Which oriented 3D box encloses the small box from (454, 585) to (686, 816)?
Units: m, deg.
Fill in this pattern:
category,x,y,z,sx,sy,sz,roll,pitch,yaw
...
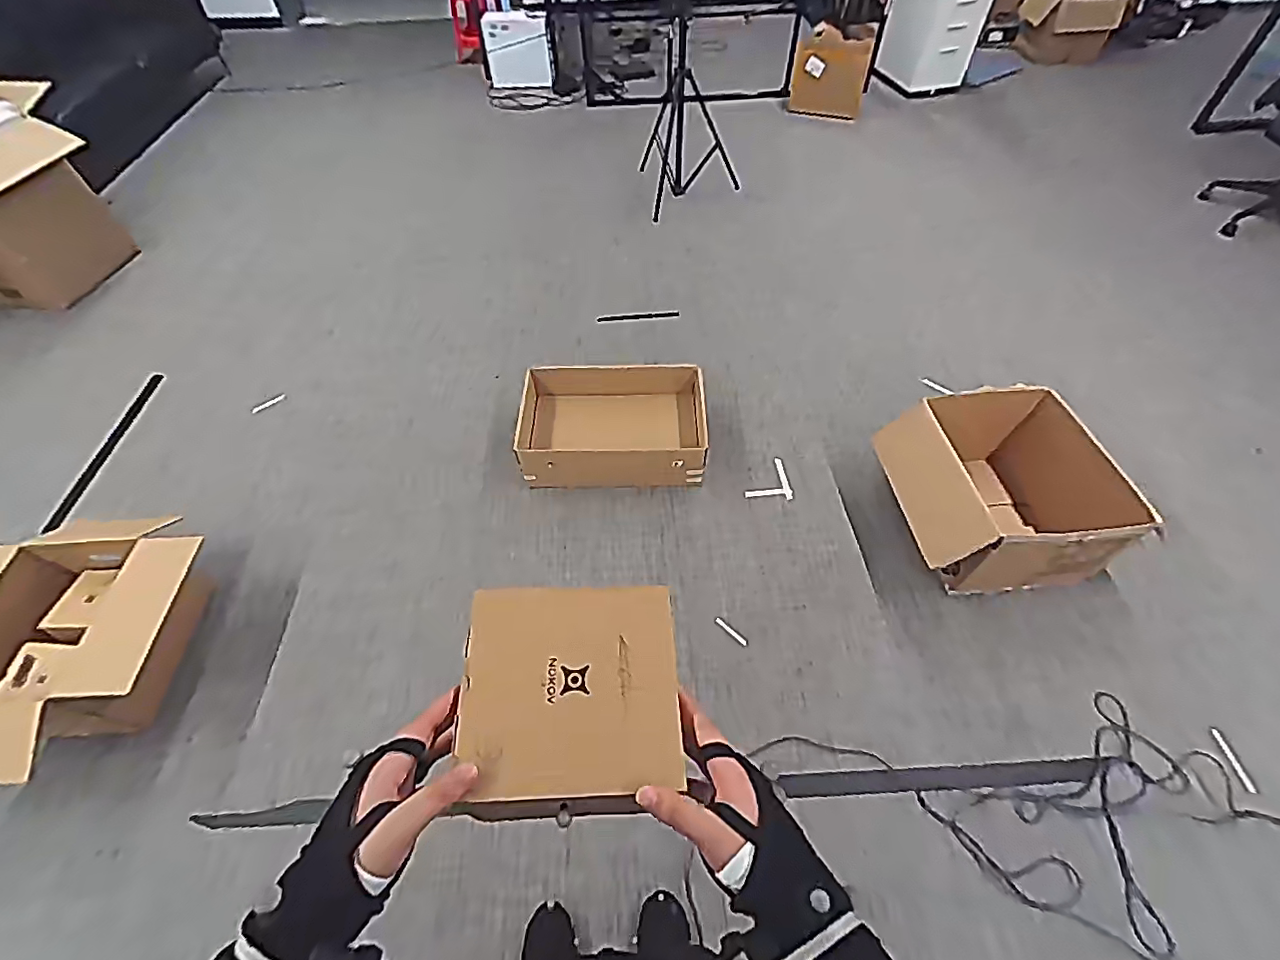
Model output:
category,x,y,z,sx,sy,sz,roll,pitch,yaw
small box,-0.060,0.211,0.510,0.179,0.176,0.168,-1,55,-6
